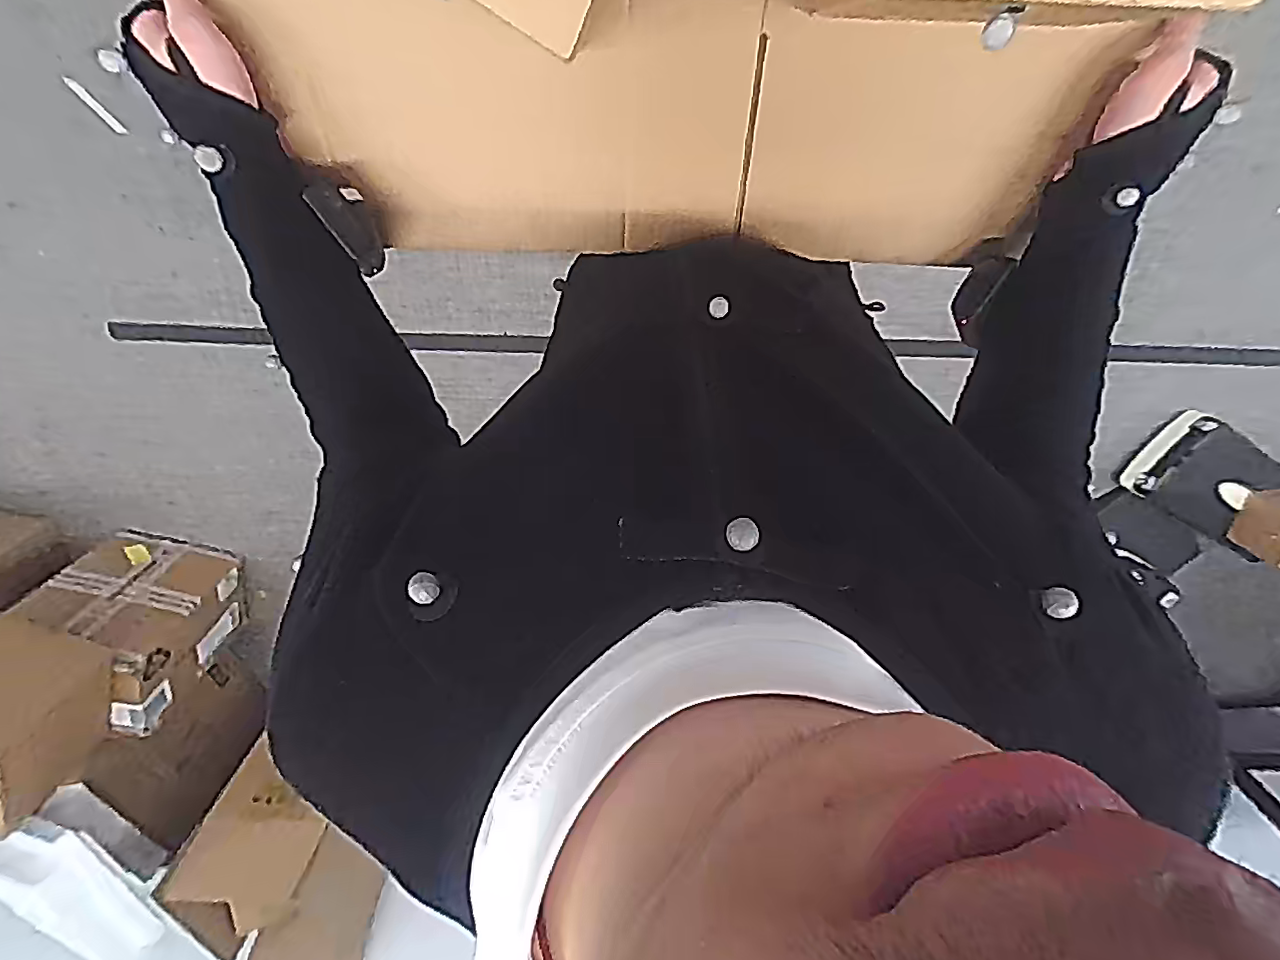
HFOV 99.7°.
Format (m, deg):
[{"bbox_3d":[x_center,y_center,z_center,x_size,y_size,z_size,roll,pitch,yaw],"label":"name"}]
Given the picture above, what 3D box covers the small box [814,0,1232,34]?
[{"bbox_3d":[0.208,-0.343,0.281,0.179,0.176,0.168,4,128,2],"label":"small box"}]
